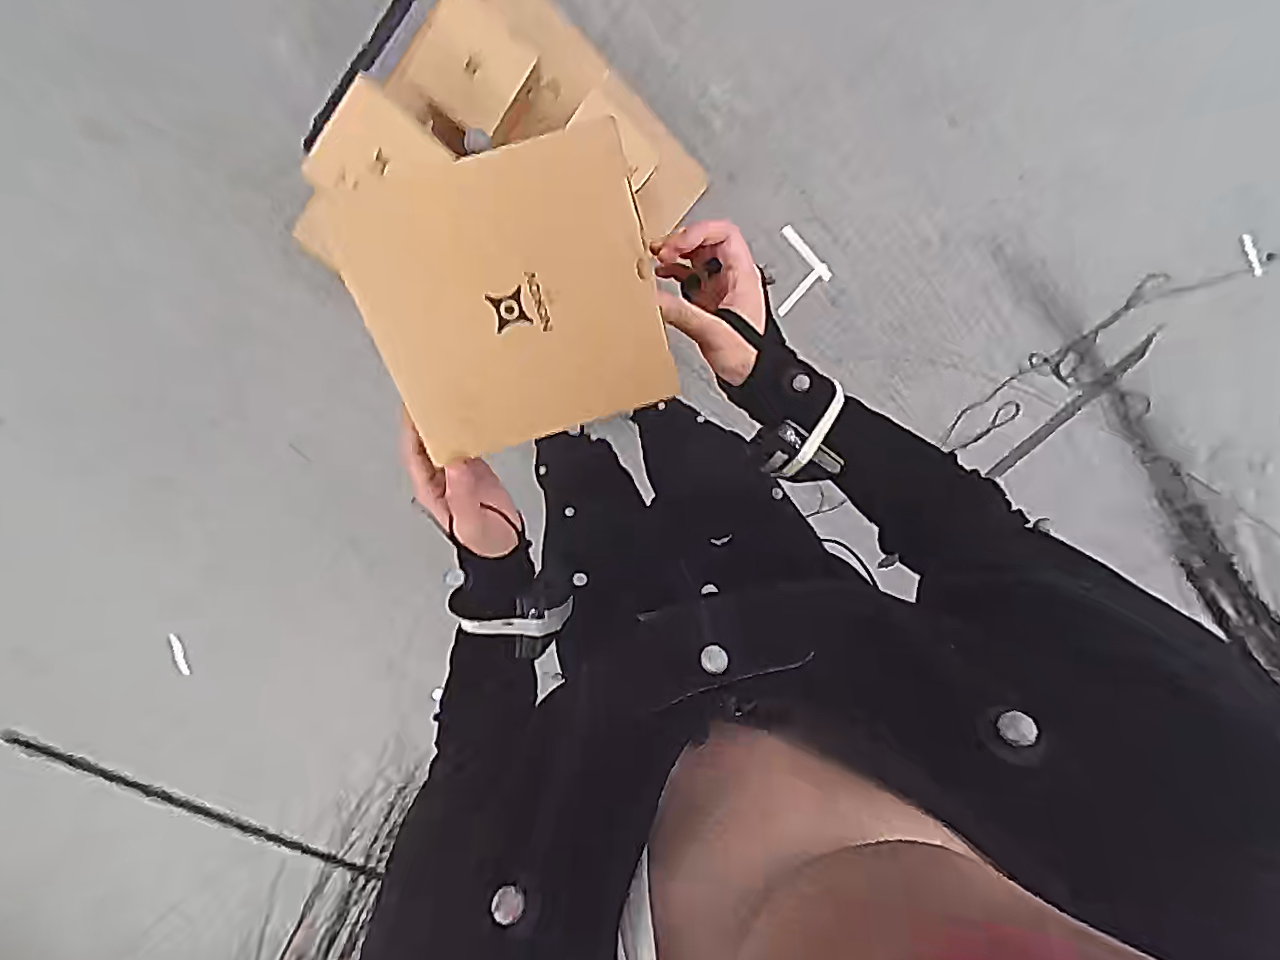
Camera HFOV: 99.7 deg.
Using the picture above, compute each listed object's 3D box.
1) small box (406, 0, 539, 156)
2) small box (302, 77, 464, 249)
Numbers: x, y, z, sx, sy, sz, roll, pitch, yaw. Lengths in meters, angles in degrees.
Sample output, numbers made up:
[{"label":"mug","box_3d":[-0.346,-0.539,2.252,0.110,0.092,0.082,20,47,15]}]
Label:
[{"label":"small box","box_3d":[-0.304,-0.750,1.015,0.168,0.176,0.179,33,105,-19]},{"label":"small box","box_3d":[-0.417,-0.517,0.911,0.168,0.176,0.179,37,103,-20]}]
